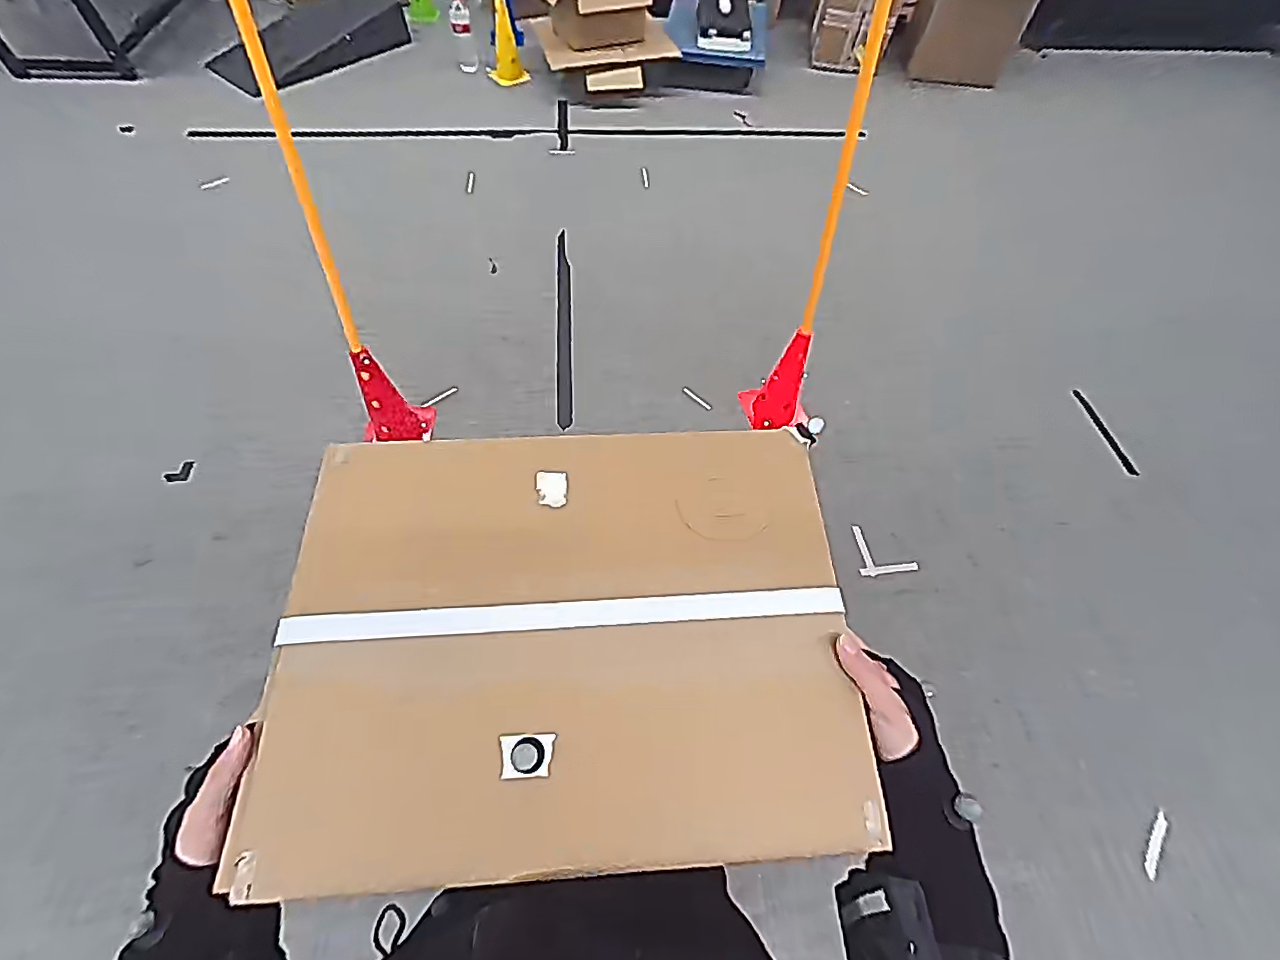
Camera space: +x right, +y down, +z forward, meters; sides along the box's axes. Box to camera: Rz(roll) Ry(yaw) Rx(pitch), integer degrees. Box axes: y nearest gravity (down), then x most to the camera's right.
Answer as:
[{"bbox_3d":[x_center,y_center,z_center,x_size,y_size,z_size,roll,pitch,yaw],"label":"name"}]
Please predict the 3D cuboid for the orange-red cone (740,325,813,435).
[{"bbox_3d":[0.459,-0.329,1.662,0.199,0.360,0.198,-10,60,-11],"label":"orange-red cone"}]
